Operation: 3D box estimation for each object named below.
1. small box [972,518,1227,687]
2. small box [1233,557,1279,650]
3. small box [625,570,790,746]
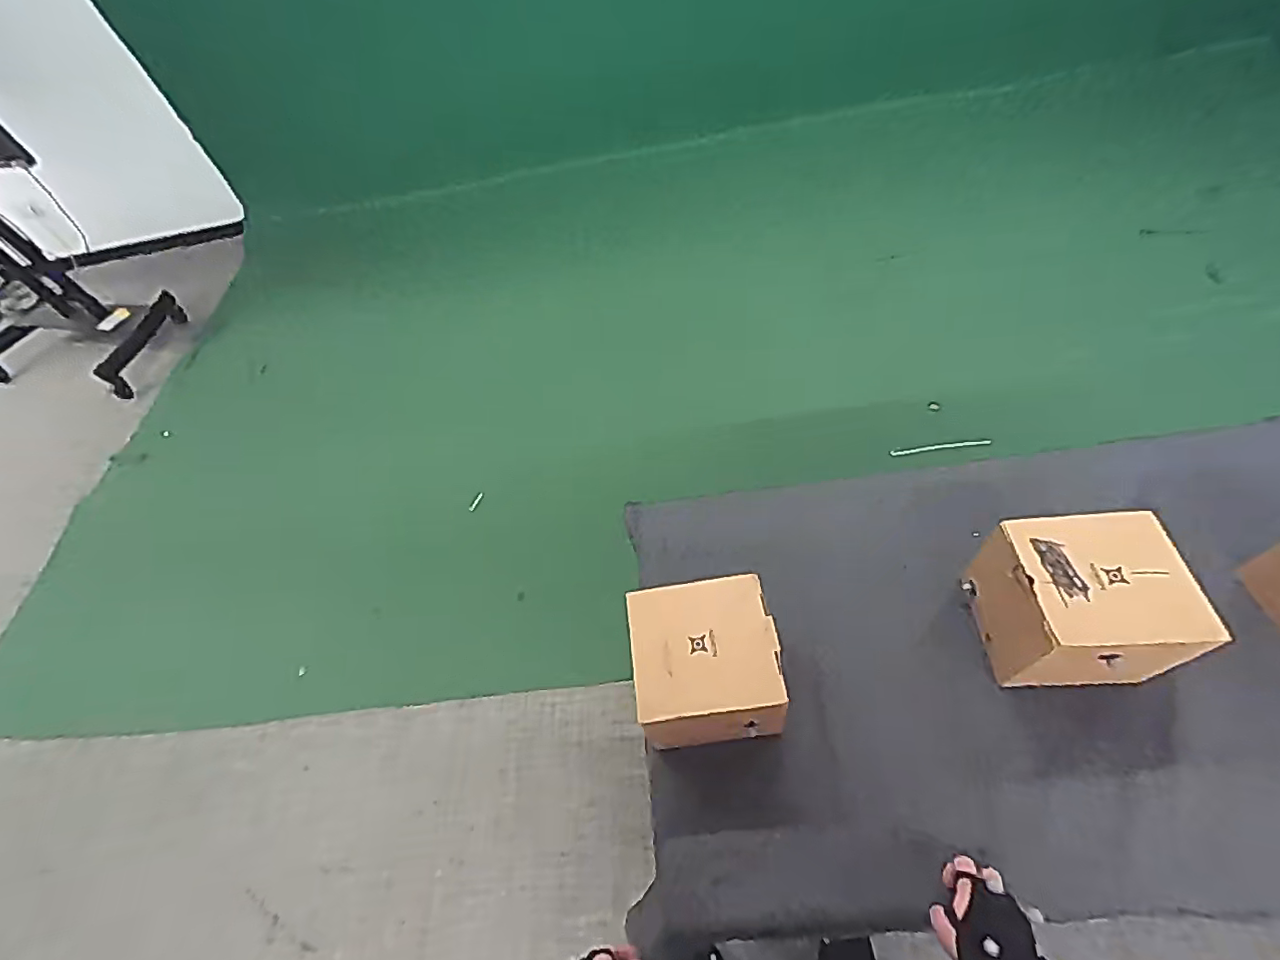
[{"bbox_3d":[0.554,0.161,0.692,0.179,0.176,0.168,-2,57,9],"label":"small box"},{"bbox_3d":[0.918,0.150,0.656,0.179,0.176,0.168,-12,55,3],"label":"small box"},{"bbox_3d":[0.084,0.238,0.709,0.179,0.176,0.168,-11,53,4],"label":"small box"}]
